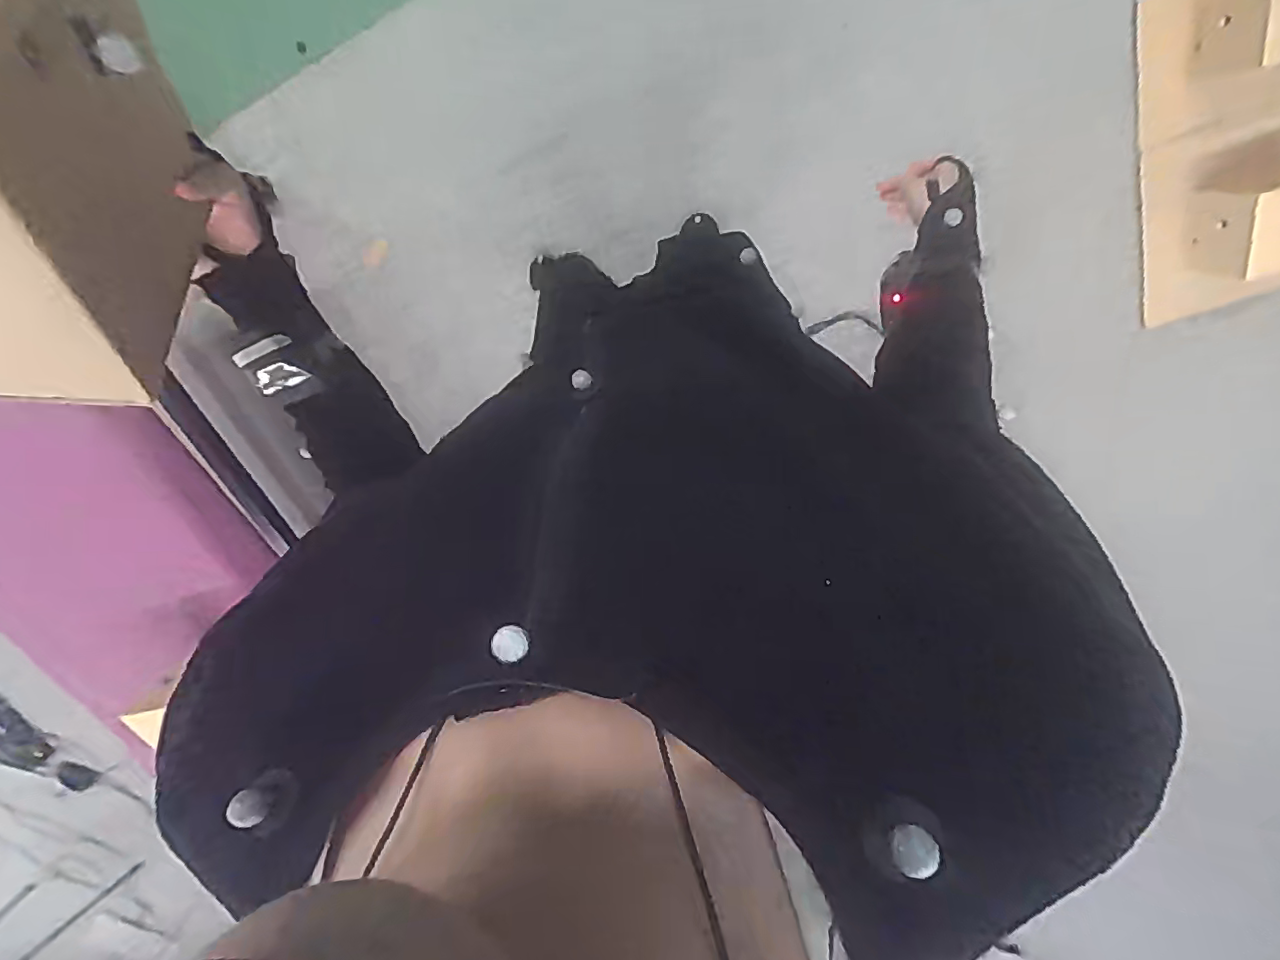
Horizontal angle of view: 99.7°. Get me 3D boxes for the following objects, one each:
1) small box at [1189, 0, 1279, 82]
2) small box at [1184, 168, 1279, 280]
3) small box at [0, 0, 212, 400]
[{"bbox_3d":[1.133,-0.834,0.950,0.179,0.176,0.168,-14,116,12],"label":"small box"},{"bbox_3d":[1.271,-0.522,1.098,0.179,0.176,0.168,-15,116,13],"label":"small box"},{"bbox_3d":[-0.316,-0.151,0.219,0.179,0.168,0.176,0,152,-22],"label":"small box"}]
